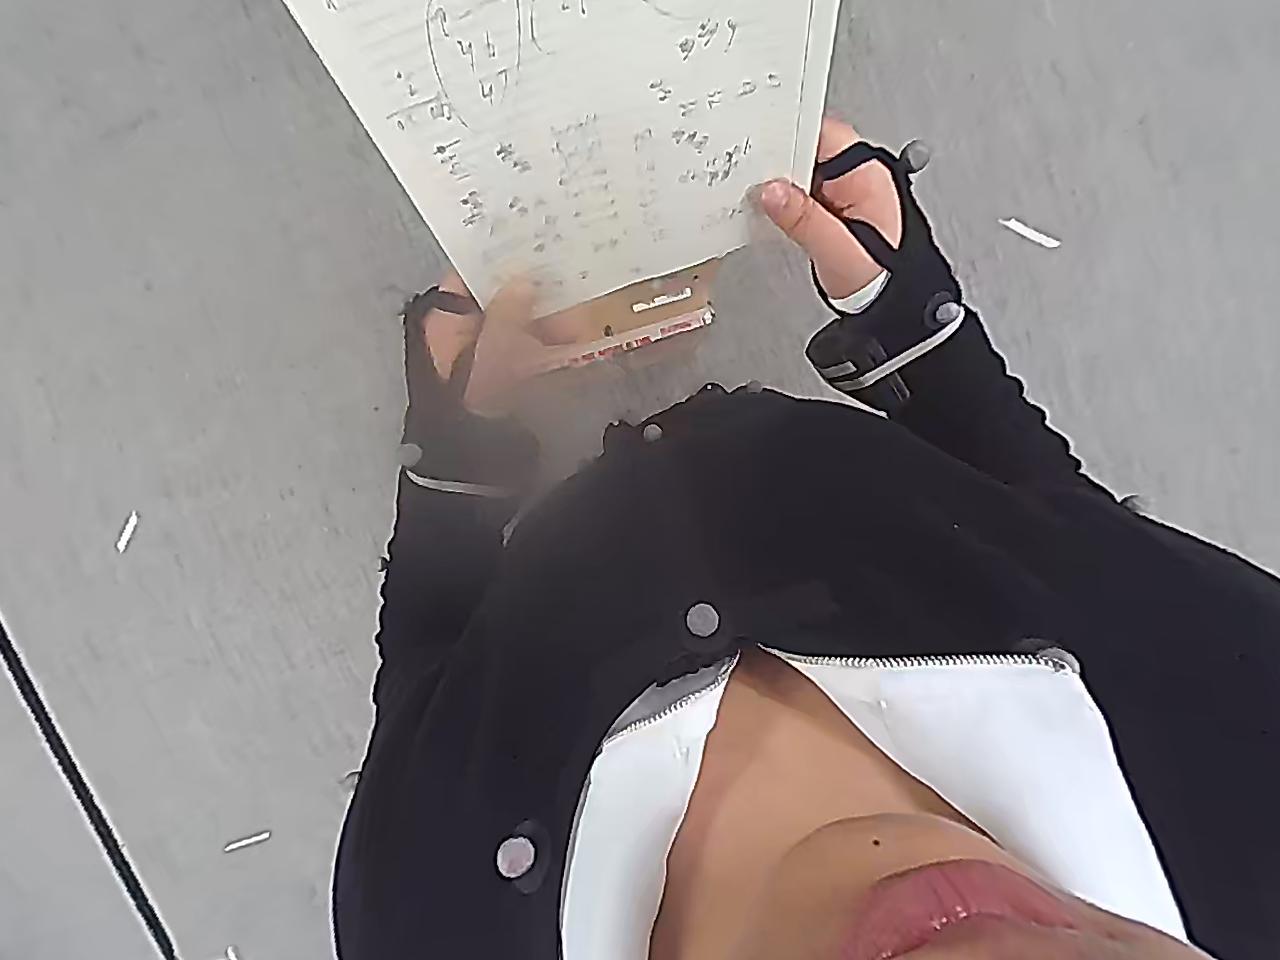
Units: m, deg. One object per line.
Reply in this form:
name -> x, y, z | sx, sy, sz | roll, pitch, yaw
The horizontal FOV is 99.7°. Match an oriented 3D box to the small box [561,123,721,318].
small box -> -0.001, -0.333, 0.728 | 0.168, 0.176, 0.179 | -14, 99, 1

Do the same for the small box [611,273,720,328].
small box -> 0.015, -0.363, 0.891 | 0.179, 0.176, 0.168 | -17, 98, 2
